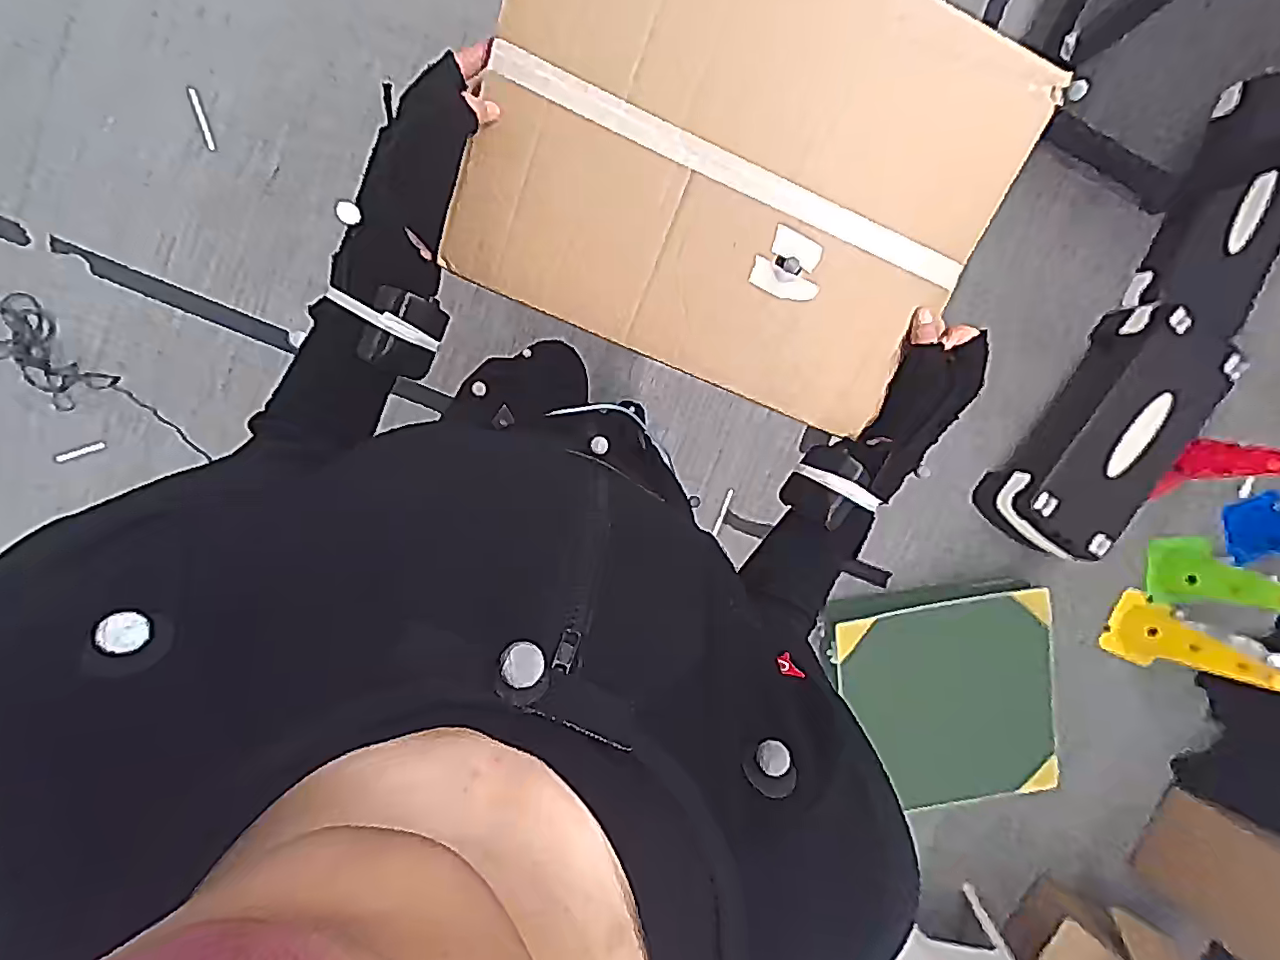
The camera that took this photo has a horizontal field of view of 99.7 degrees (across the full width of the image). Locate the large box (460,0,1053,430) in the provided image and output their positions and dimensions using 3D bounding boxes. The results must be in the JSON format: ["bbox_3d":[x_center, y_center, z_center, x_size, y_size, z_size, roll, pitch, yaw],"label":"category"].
[{"bbox_3d":[0.079,-0.295,0.577,0.408,0.320,0.320,21,109,-9],"label":"large box"}]
